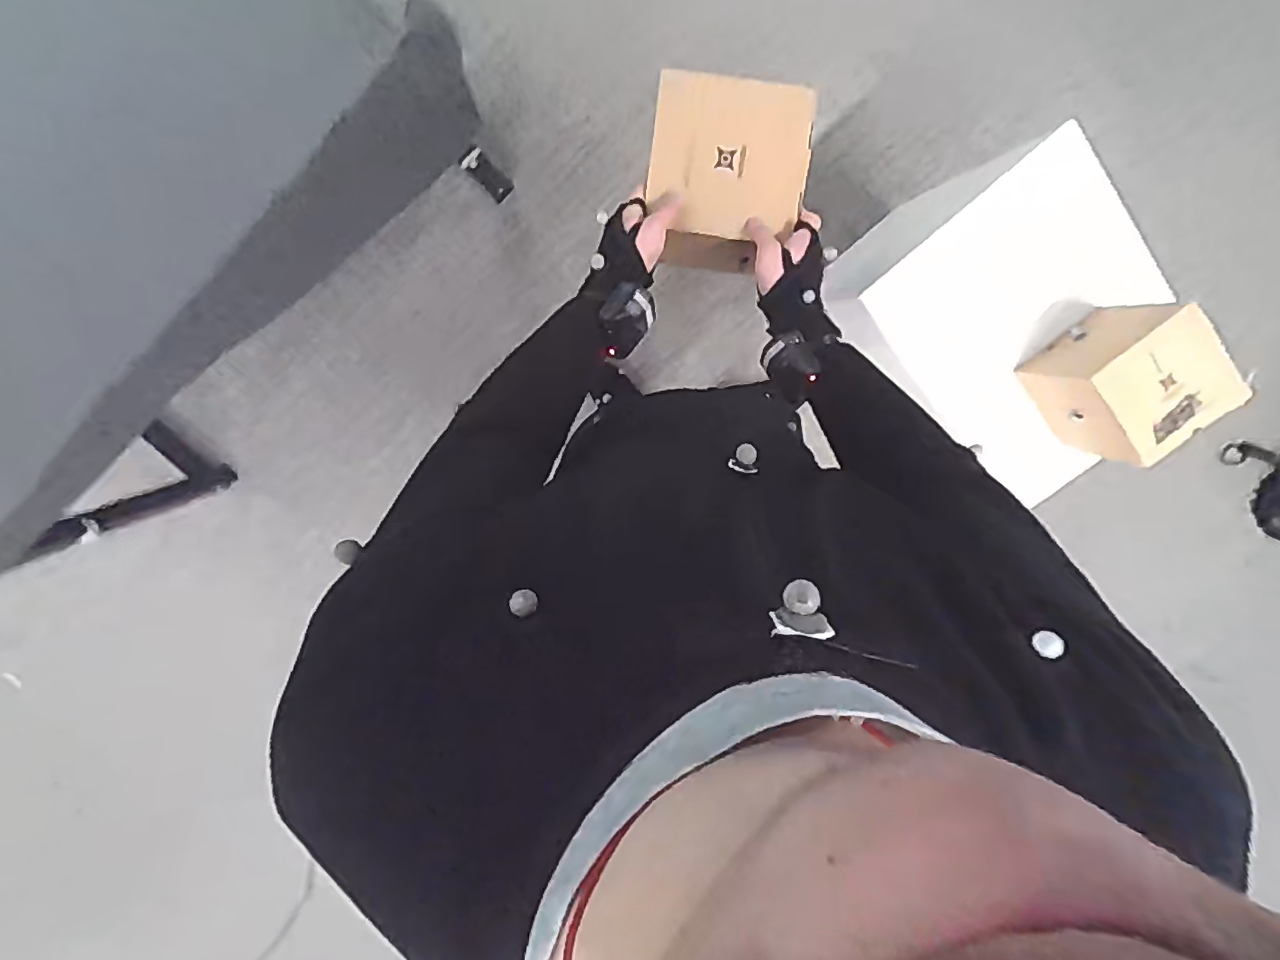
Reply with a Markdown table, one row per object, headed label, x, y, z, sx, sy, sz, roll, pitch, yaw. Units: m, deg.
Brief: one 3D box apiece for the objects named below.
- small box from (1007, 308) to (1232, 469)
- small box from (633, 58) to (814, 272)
| label | x | y | z | sx | sy | sz | roll | pitch | yaw |
| --- | --- | --- | --- | --- | --- | --- | --- | --- | --- |
| small box | 0.737 | -0.149 | 0.851 | 0.168 | 0.176 | 0.179 | -39 | 102 | 7 |
| small box | 0.088 | -0.362 | 0.657 | 0.179 | 0.176 | 0.168 | 7 | 97 | -1 |
